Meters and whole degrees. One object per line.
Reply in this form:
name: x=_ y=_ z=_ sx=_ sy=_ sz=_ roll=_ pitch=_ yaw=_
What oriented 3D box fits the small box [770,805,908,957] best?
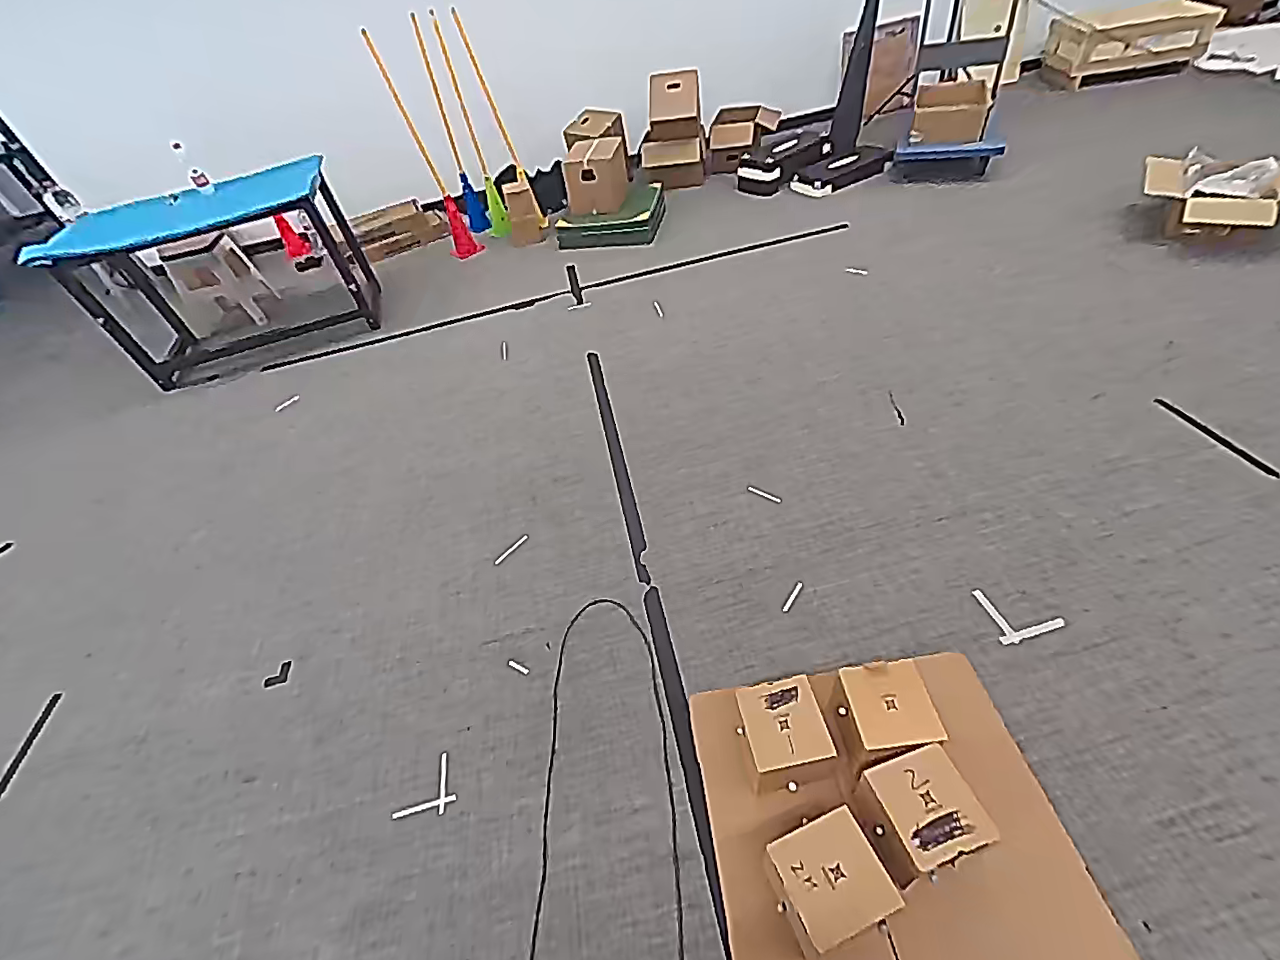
small box: x=0.357 y=0.748 z=1.008 sx=0.179 sy=0.176 sz=0.168 roll=-21 pitch=45 yaw=-9

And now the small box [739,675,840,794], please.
small box: x=0.320 y=0.564 z=1.199 sx=0.168 sy=0.176 sz=0.179 roll=-12 pitch=46 yaw=-1
